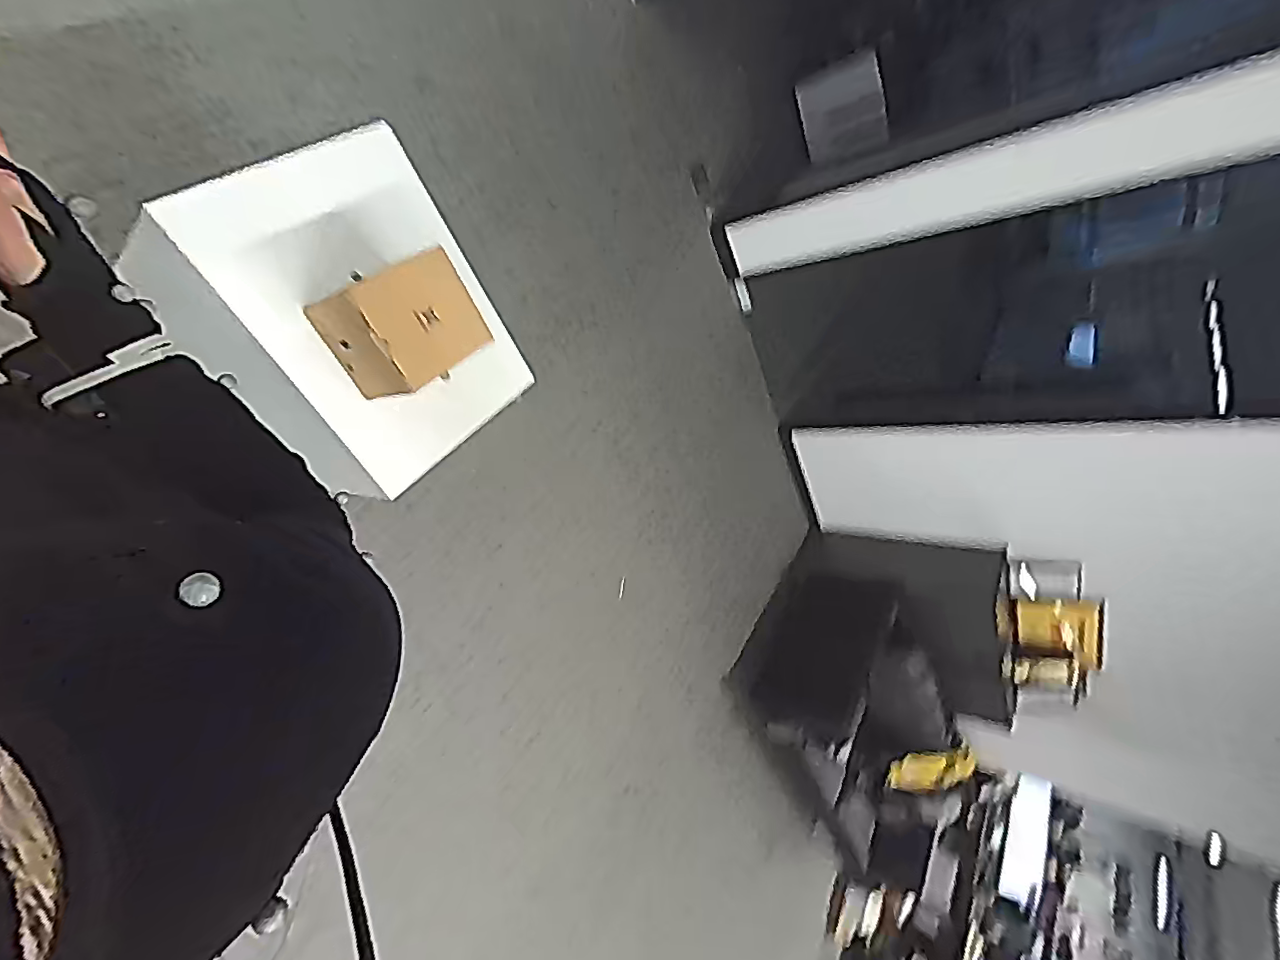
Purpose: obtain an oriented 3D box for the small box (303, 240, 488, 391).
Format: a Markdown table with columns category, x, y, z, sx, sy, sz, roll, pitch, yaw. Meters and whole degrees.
| category | x | y | z | sx | sy | sz | roll | pitch | yaw |
| --- | --- | --- | --- | --- | --- | --- | --- | --- | --- |
| small box | -0.386 | -0.256 | 0.861 | 0.179 | 0.176 | 0.168 | -49 | 127 | -36 |
